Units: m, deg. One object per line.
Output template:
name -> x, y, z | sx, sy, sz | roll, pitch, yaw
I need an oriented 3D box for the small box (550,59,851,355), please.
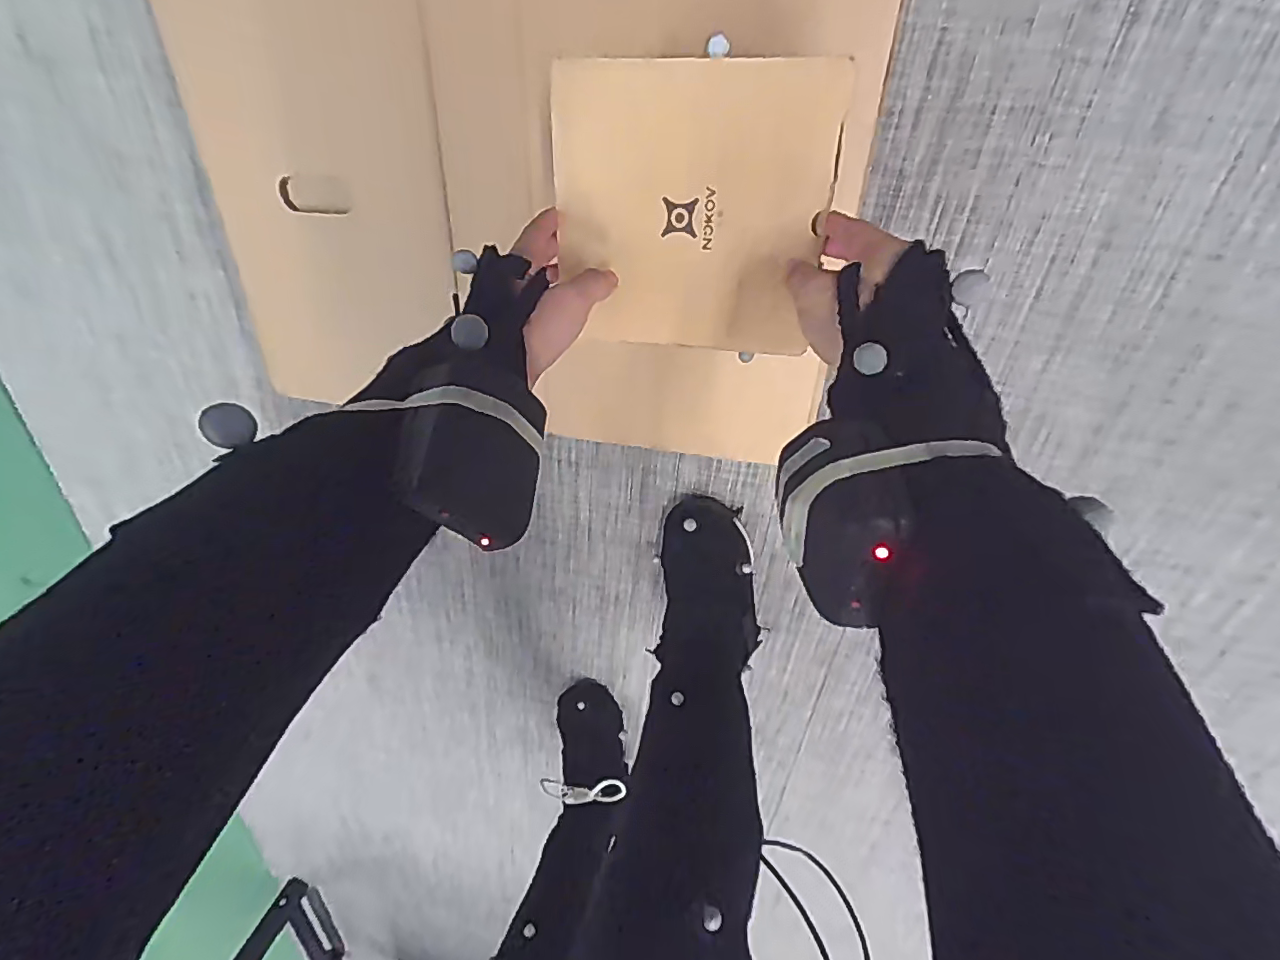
small box -> 0.042, -0.203, 0.415 | 0.179, 0.176, 0.168 | 6, 118, 8
